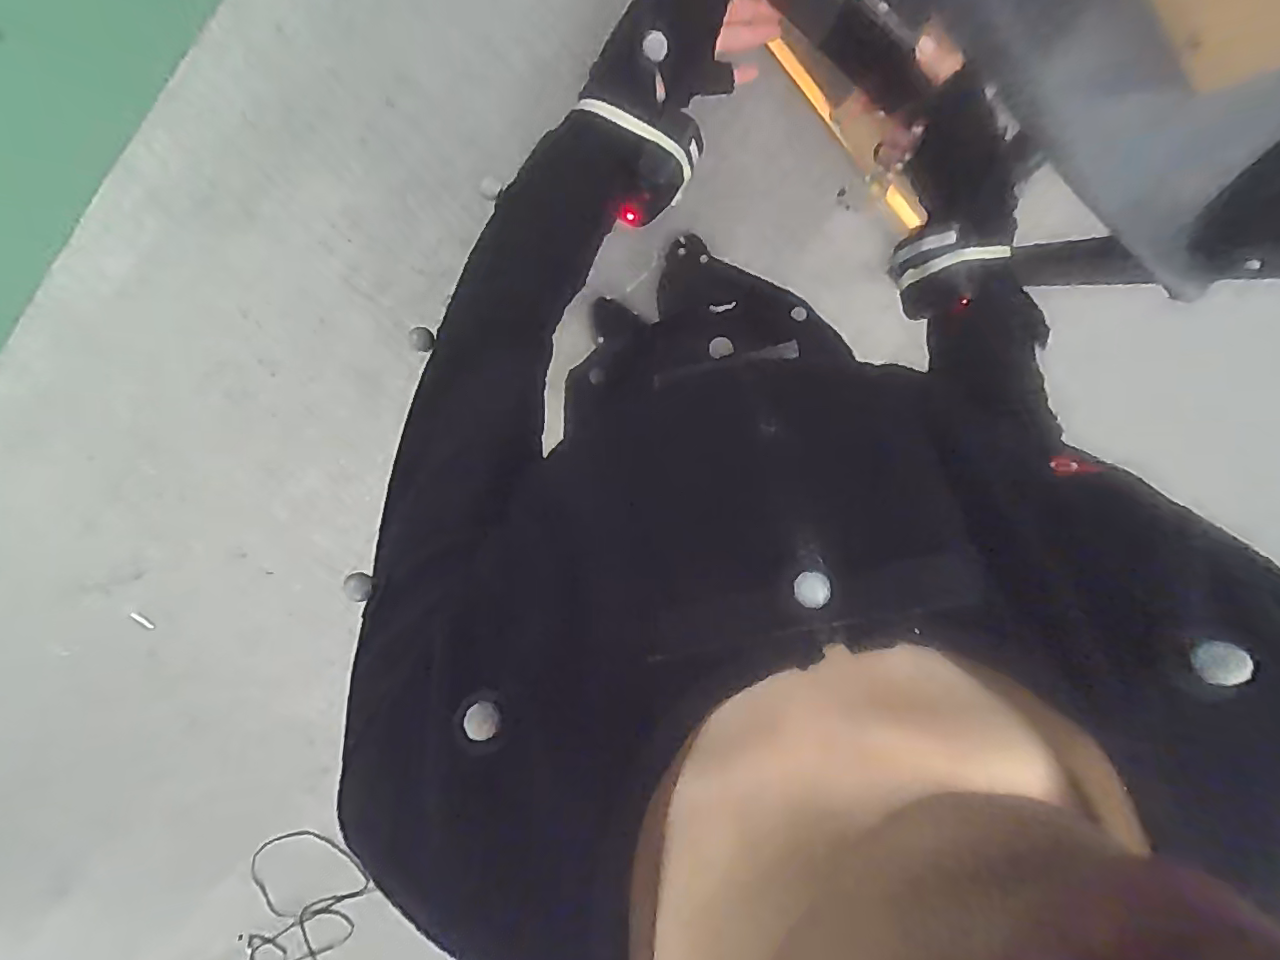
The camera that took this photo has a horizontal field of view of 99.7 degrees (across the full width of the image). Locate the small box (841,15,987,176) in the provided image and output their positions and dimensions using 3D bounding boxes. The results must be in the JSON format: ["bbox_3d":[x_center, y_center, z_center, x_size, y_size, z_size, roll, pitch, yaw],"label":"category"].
[{"bbox_3d":[0.526,-0.743,1.073,0.179,0.176,0.168,-42,106,11],"label":"small box"}]
